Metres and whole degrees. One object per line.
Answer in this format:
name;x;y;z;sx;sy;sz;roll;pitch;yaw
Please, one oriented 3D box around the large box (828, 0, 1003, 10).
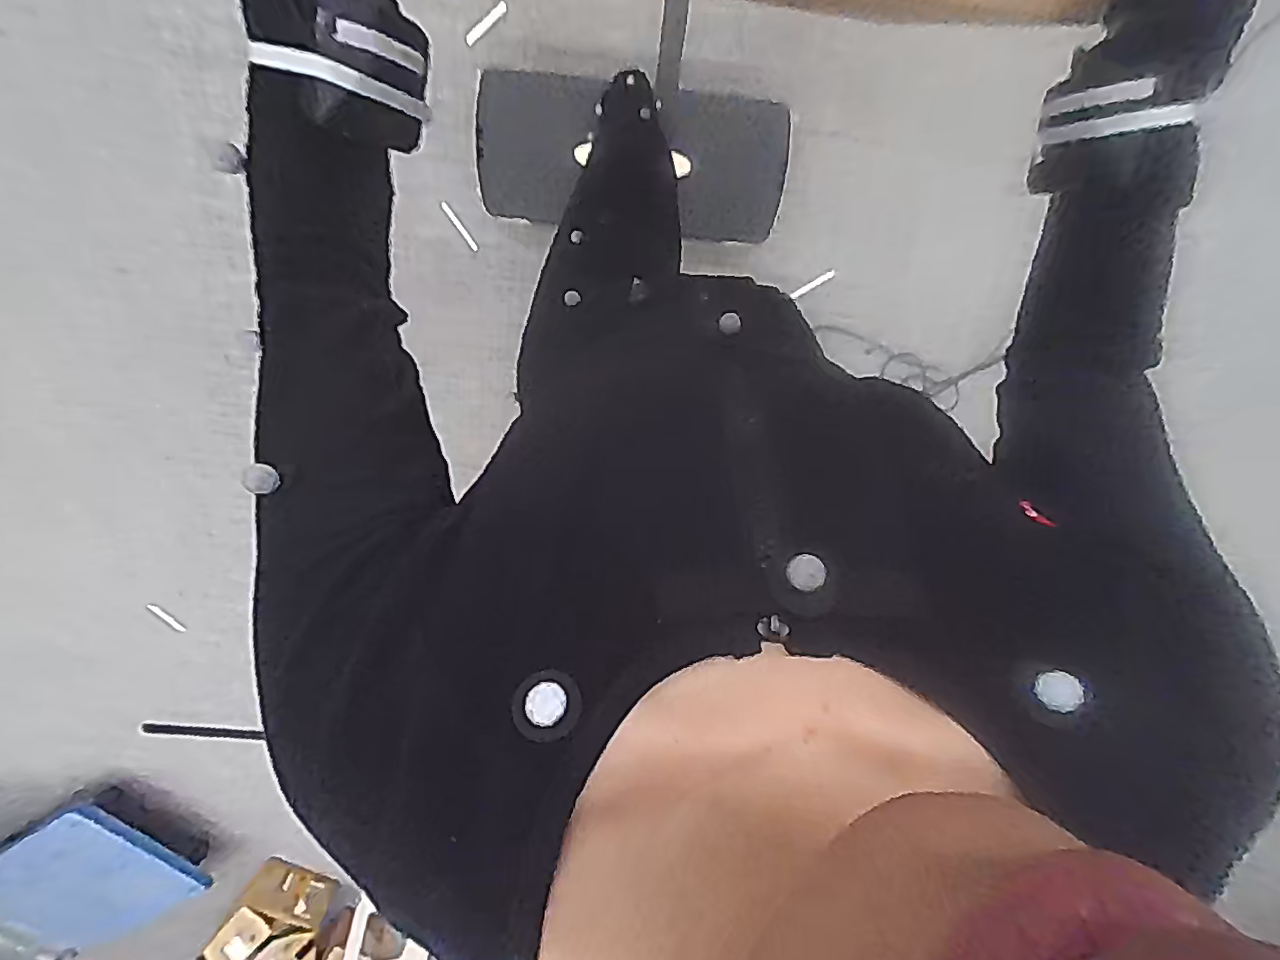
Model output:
large box;0.085;-0.515;0.327;0.408;0.320;0.320;5;131;-5
